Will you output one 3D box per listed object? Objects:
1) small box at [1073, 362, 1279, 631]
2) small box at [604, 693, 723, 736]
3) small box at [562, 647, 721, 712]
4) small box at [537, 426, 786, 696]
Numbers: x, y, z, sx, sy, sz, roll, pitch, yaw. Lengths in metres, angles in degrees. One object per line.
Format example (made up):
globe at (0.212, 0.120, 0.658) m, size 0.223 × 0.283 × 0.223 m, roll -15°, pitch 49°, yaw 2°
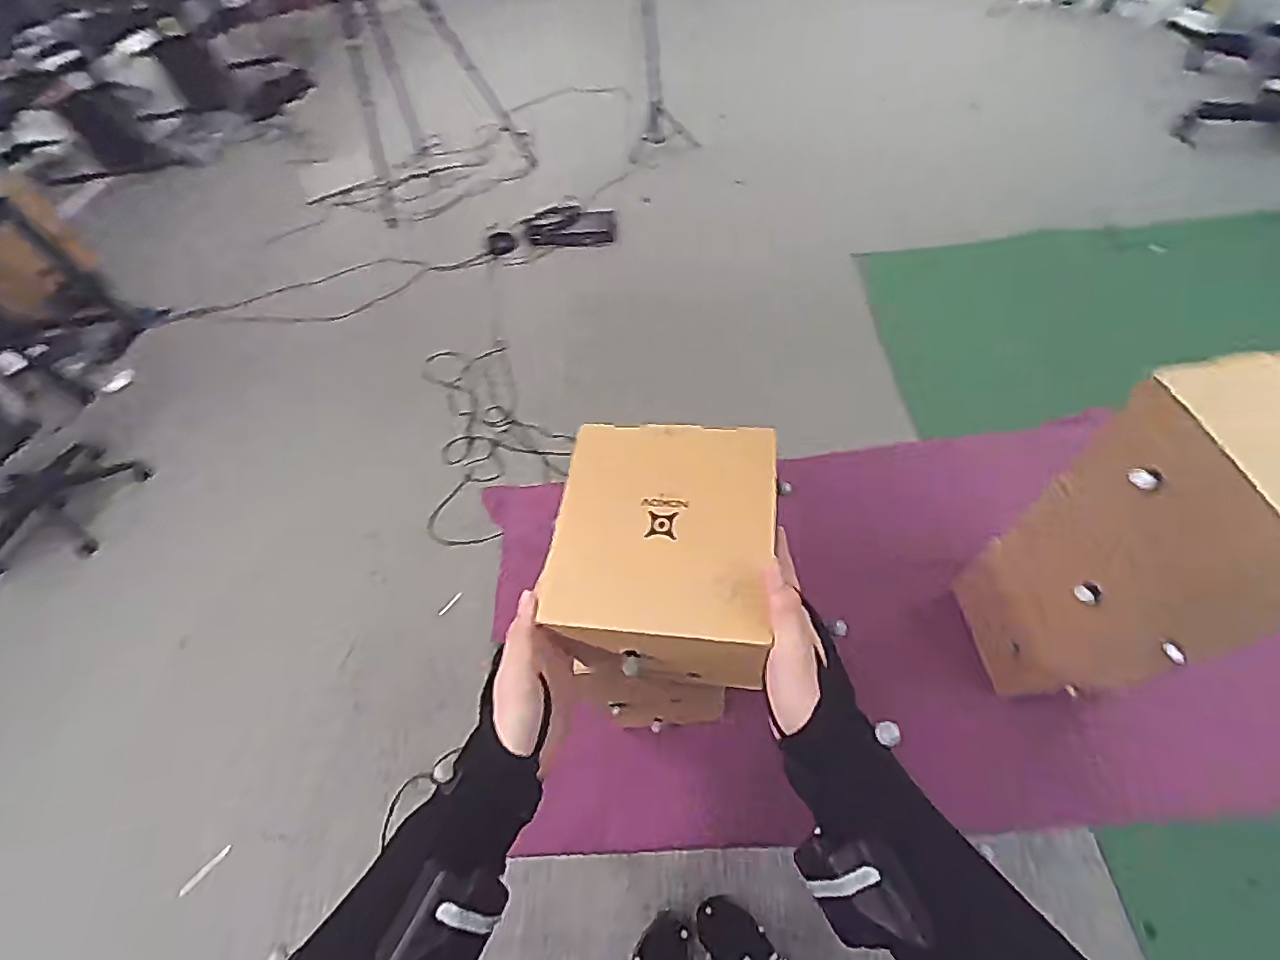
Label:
small box at (0.551, 0.016, 0.488) m, size 0.168 × 0.176 × 0.179 m, roll -8°, pitch 53°, yaw 4°
small box at (0.027, 0.260, 0.792) m, size 0.168 × 0.176 × 0.179 m, roll -6°, pitch 54°, yaw 4°
small box at (0.008, 0.172, 0.655) m, size 0.168 × 0.176 × 0.179 m, roll -6°, pitch 53°, yaw 4°
small box at (0.033, 0.074, 0.460) m, size 0.168 × 0.176 × 0.179 m, roll 3°, pitch 60°, yaw 12°
